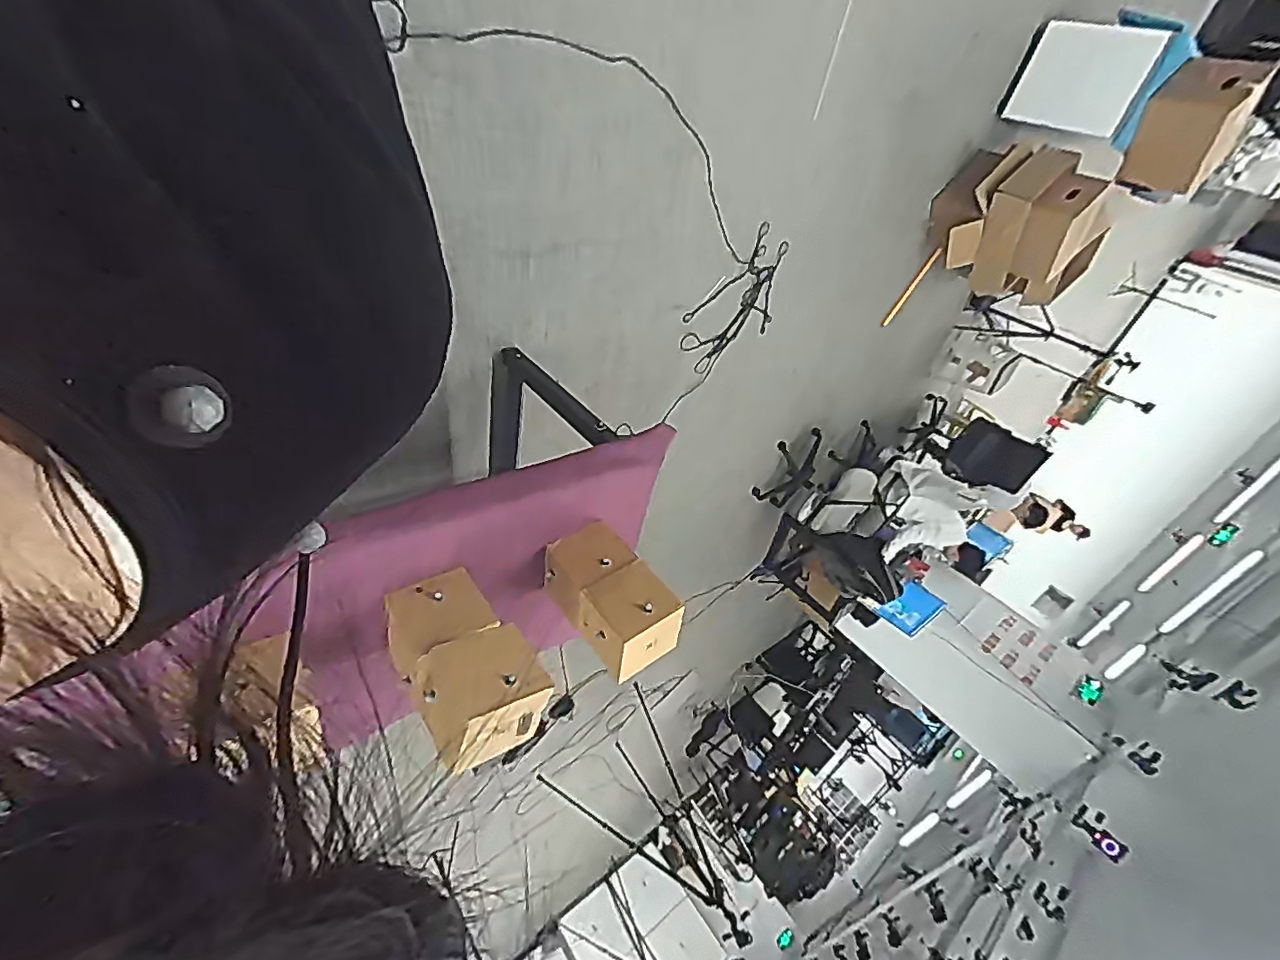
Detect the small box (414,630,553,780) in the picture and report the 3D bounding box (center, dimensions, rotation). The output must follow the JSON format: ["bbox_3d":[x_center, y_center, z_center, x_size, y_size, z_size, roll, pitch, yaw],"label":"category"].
[{"bbox_3d":[-0.298,0.411,1.022,0.179,0.176,0.168,-6,129,-45],"label":"small box"}]

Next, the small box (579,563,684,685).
[{"bbox_3d":[-0.028,0.326,1.246,0.179,0.176,0.168,-24,139,-32],"label":"small box"}]

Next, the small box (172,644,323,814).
[{"bbox_3d":[-0.655,0.402,0.908,0.168,0.176,0.179,-16,135,-39],"label":"small box"}]

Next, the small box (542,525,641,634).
[{"bbox_3d":[-0.124,0.238,1.341,0.179,0.176,0.168,-22,138,-33],"label":"small box"}]

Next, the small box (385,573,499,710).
[{"bbox_3d":[-0.409,0.324,1.107,0.168,0.176,0.179,-17,136,-38],"label":"small box"}]
